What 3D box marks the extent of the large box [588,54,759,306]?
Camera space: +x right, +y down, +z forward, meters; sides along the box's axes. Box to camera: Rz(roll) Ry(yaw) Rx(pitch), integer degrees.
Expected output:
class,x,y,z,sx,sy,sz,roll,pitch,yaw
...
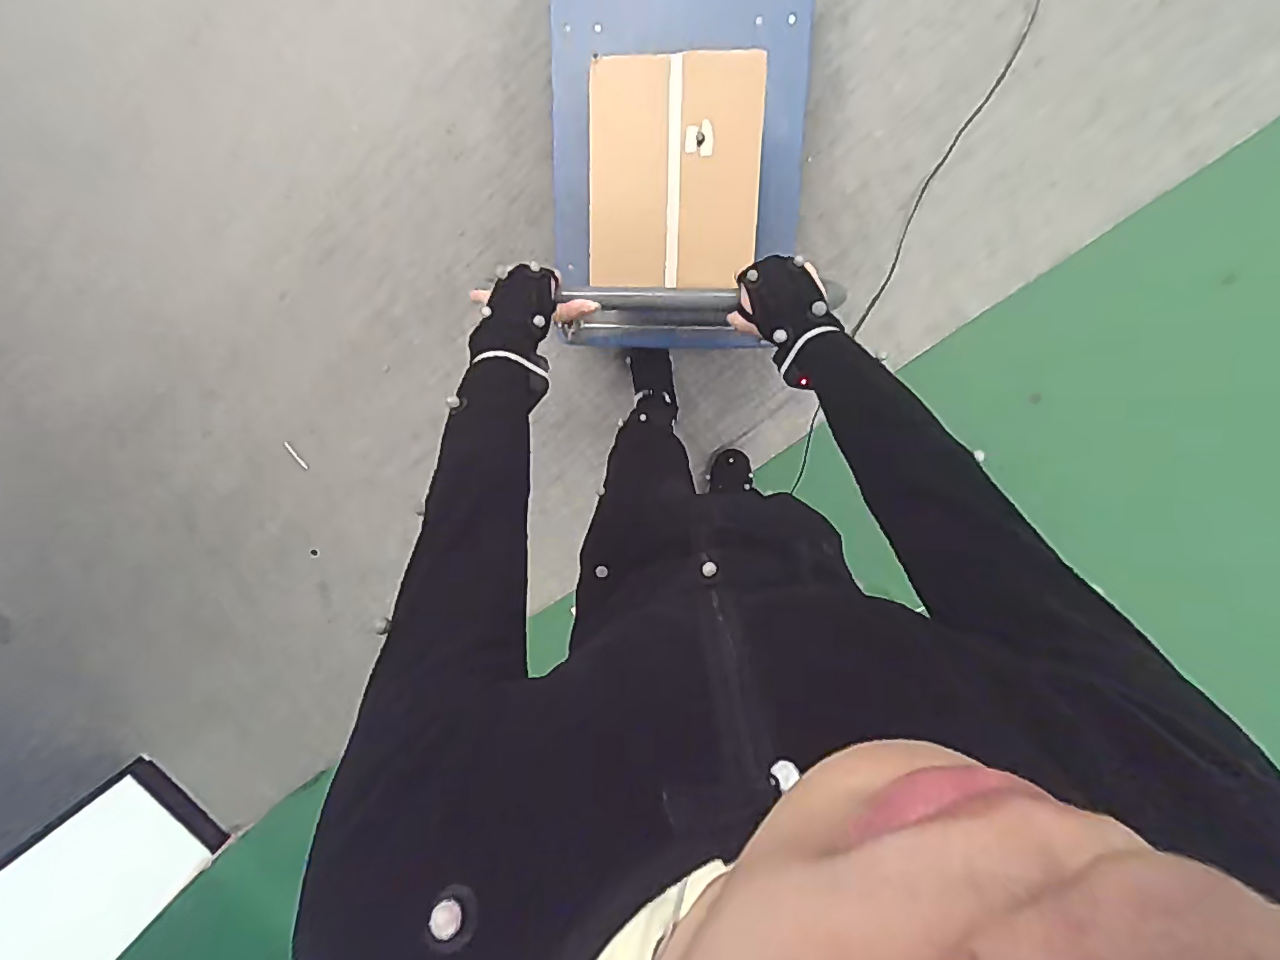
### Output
class,x,y,z,sx,sy,sz,roll,pitch,yaw
large box,0.072,-0.592,1.152,0.320,0.320,0.408,3,103,5
